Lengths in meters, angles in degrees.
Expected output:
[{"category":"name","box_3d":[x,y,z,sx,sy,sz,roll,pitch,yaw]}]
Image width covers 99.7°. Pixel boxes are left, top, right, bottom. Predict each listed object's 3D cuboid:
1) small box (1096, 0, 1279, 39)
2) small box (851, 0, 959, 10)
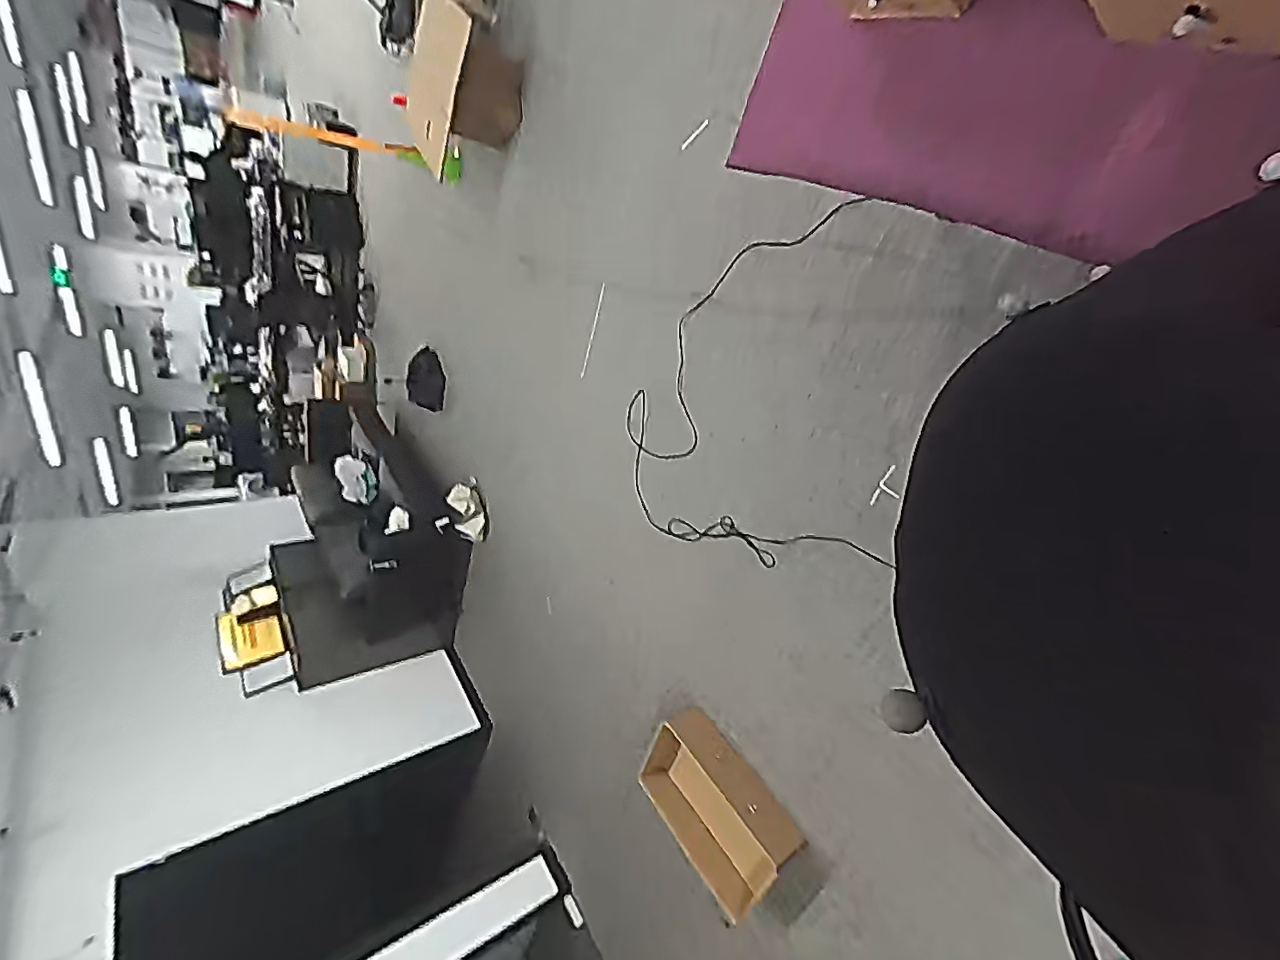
[{"category":"small box","box_3d":[0.490,-0.475,0.416,0.168,0.176,0.179,43,127,39]},{"category":"small box","box_3d":[0.299,-0.675,0.609,0.168,0.176,0.179,40,126,38]}]
